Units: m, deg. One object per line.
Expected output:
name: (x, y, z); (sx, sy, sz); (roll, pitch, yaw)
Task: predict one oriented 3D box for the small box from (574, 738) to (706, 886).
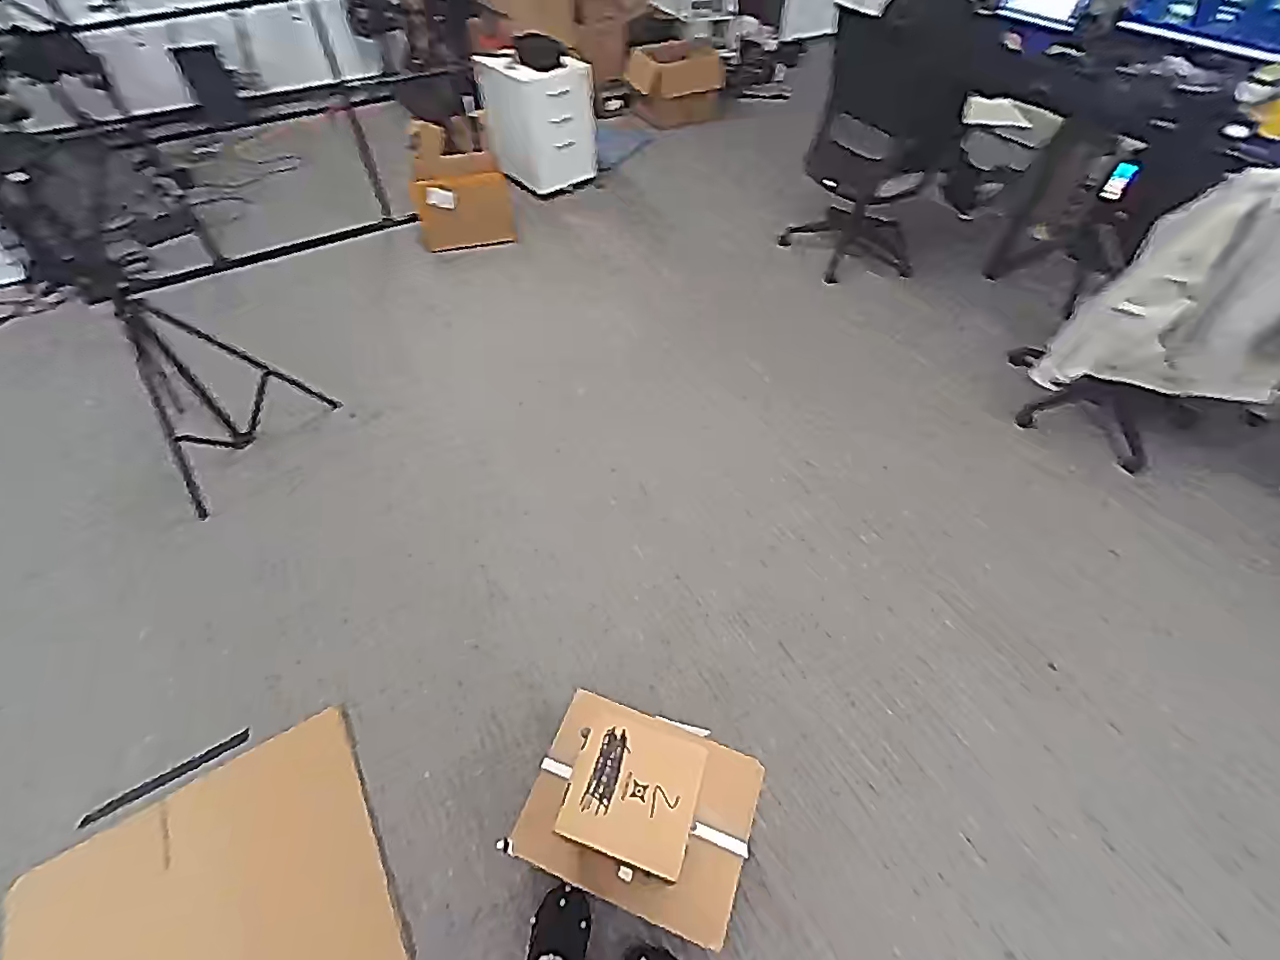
small box: (0.003, 0.575, 0.932); (0.179, 0.176, 0.168); (15, 54, 11)
